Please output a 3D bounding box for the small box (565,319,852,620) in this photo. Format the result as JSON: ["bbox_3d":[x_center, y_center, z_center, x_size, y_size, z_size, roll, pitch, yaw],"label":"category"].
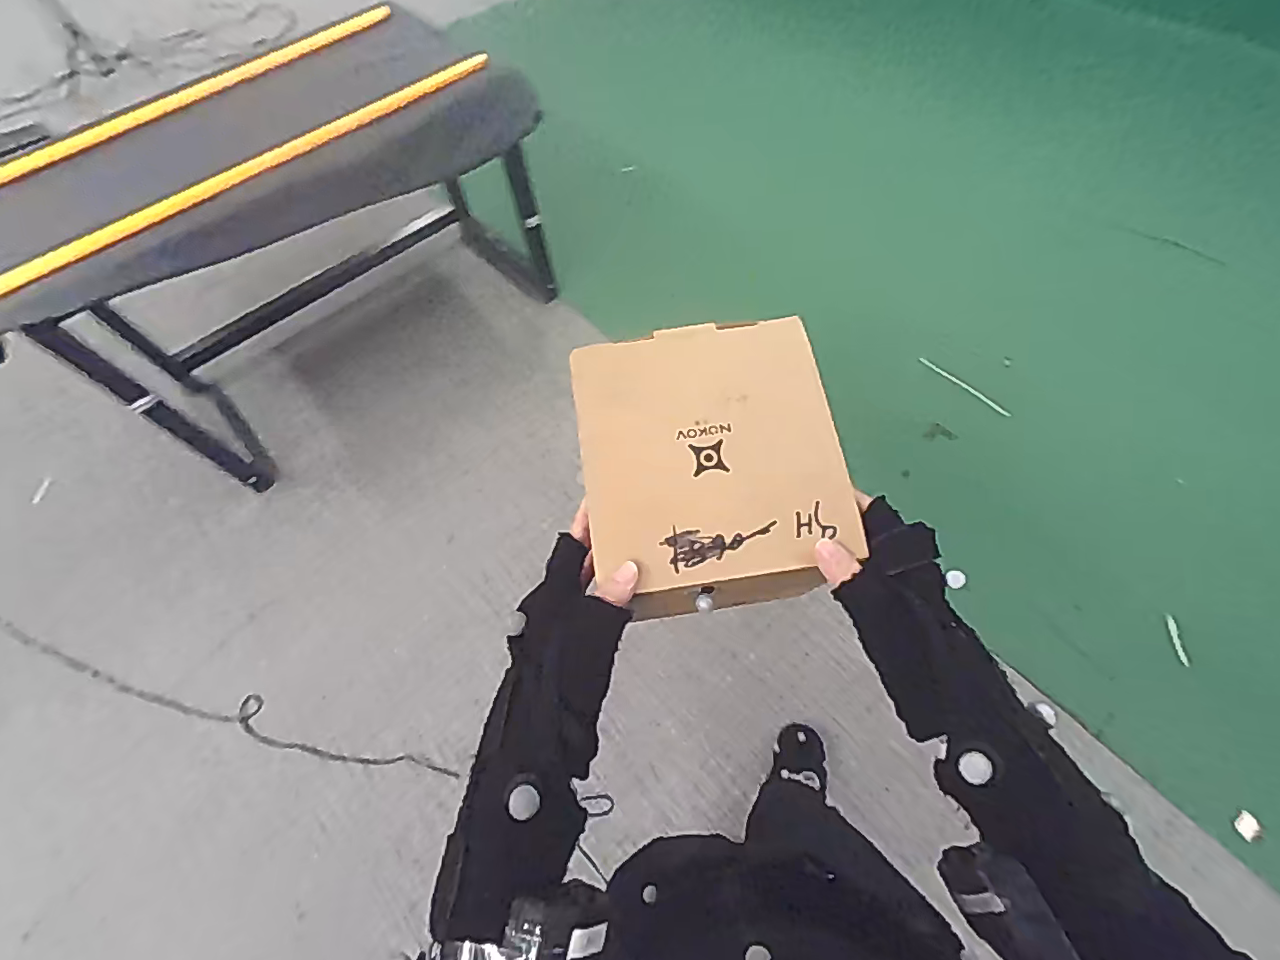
[{"bbox_3d":[0.041,0.004,0.432,0.168,0.176,0.179,-10,69,0],"label":"small box"}]
